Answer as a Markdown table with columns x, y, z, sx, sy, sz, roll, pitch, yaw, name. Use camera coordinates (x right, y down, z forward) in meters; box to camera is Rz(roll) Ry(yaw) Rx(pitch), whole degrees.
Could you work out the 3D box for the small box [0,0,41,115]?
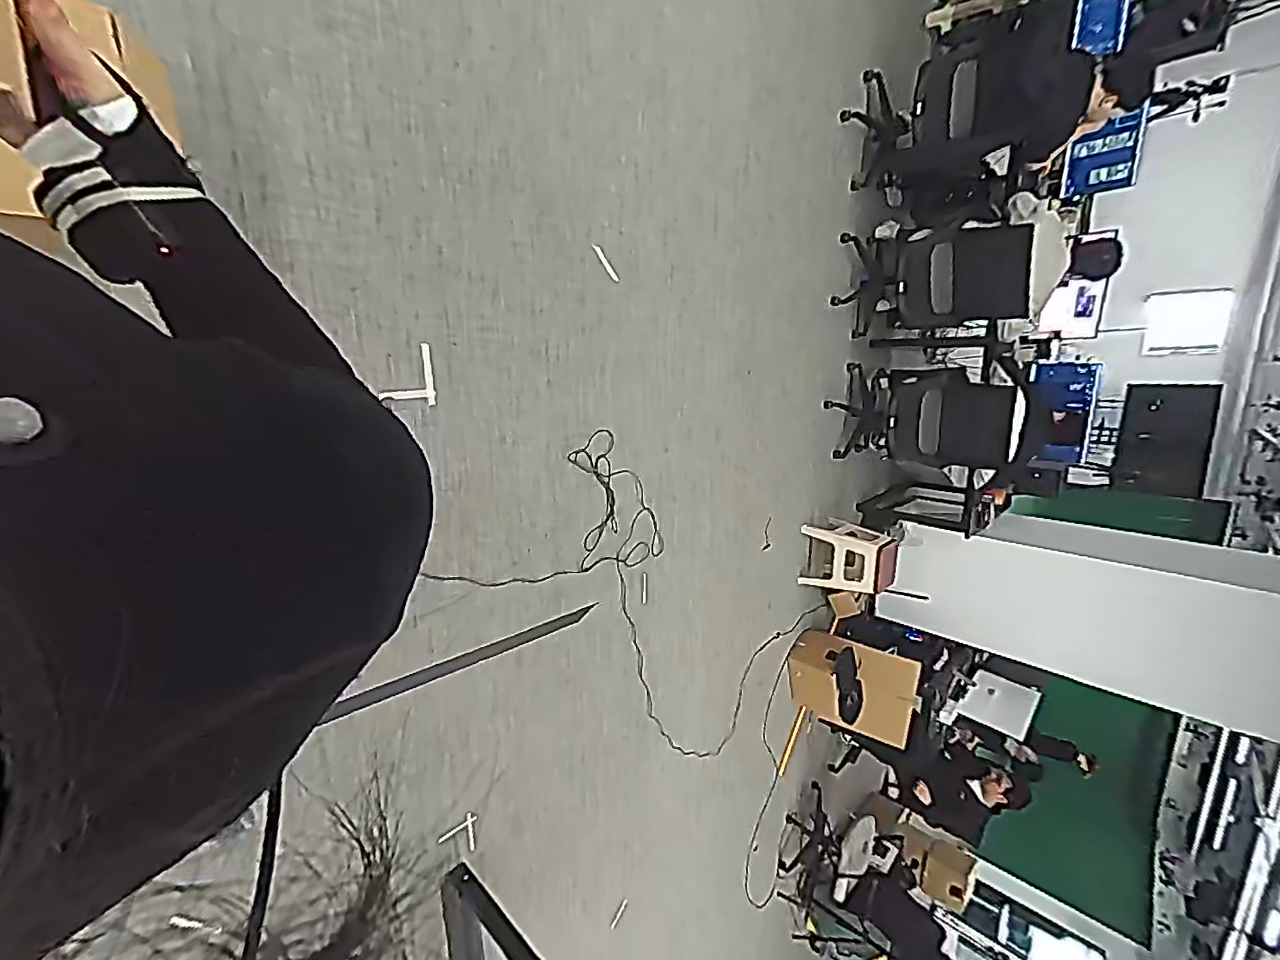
| x | y | z | sx | sy | sz | roll | pitch | yaw | name |
| --- | --- | --- | --- | --- | --- | --- | --- | --- | --- |
| -0.393 | -0.283 | 0.231 | 0.168 | 0.176 | 0.179 | -9 | 116 | -44 | small box |
